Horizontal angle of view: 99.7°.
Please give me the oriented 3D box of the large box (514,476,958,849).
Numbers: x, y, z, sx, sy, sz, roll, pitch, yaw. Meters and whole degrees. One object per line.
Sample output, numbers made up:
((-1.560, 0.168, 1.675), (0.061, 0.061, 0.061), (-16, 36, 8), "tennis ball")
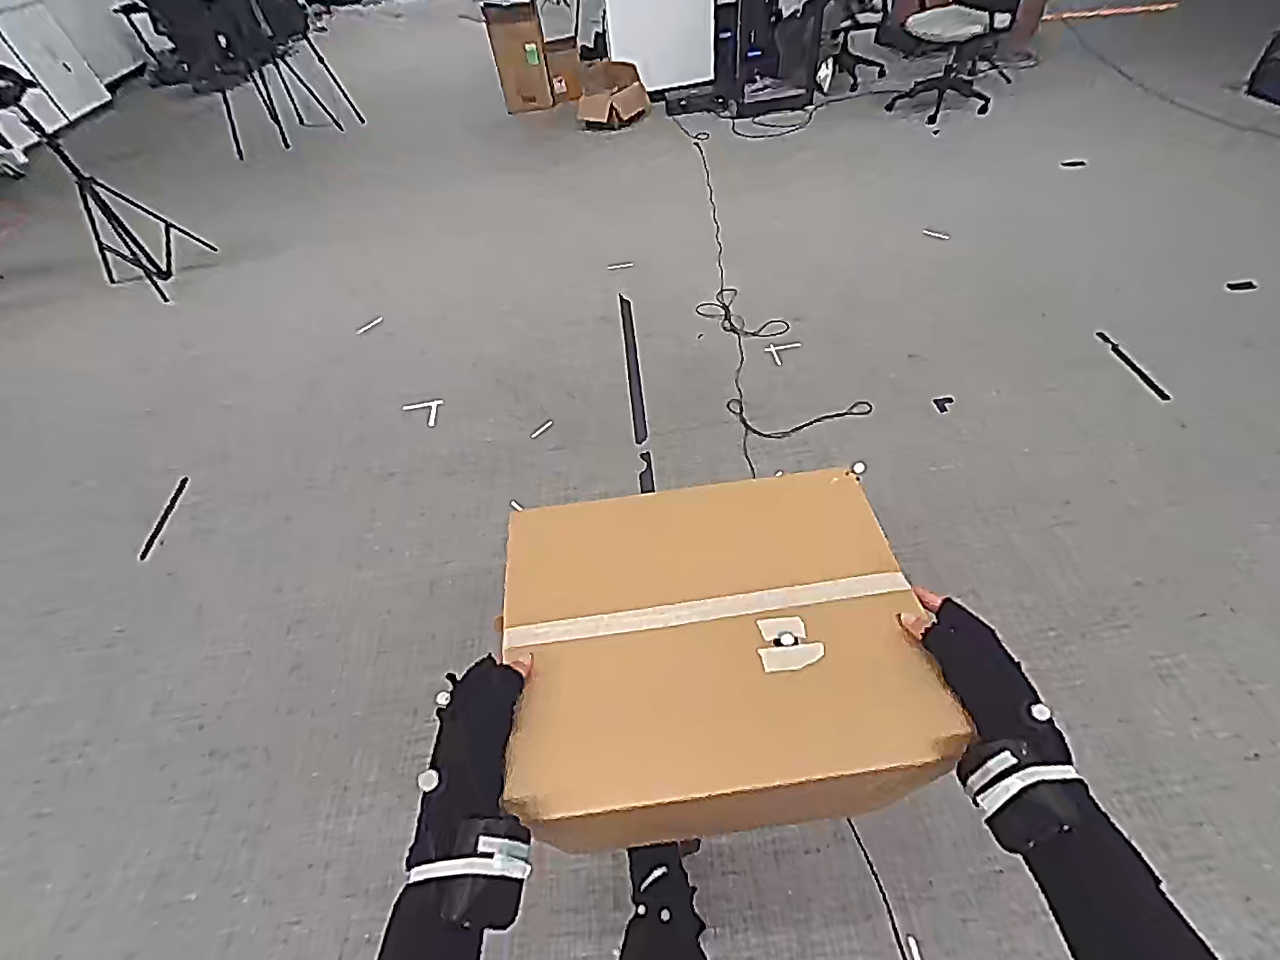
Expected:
((0.075, 0.233, 0.675), (0.408, 0.320, 0.320), (-8, 52, -2), "large box")
